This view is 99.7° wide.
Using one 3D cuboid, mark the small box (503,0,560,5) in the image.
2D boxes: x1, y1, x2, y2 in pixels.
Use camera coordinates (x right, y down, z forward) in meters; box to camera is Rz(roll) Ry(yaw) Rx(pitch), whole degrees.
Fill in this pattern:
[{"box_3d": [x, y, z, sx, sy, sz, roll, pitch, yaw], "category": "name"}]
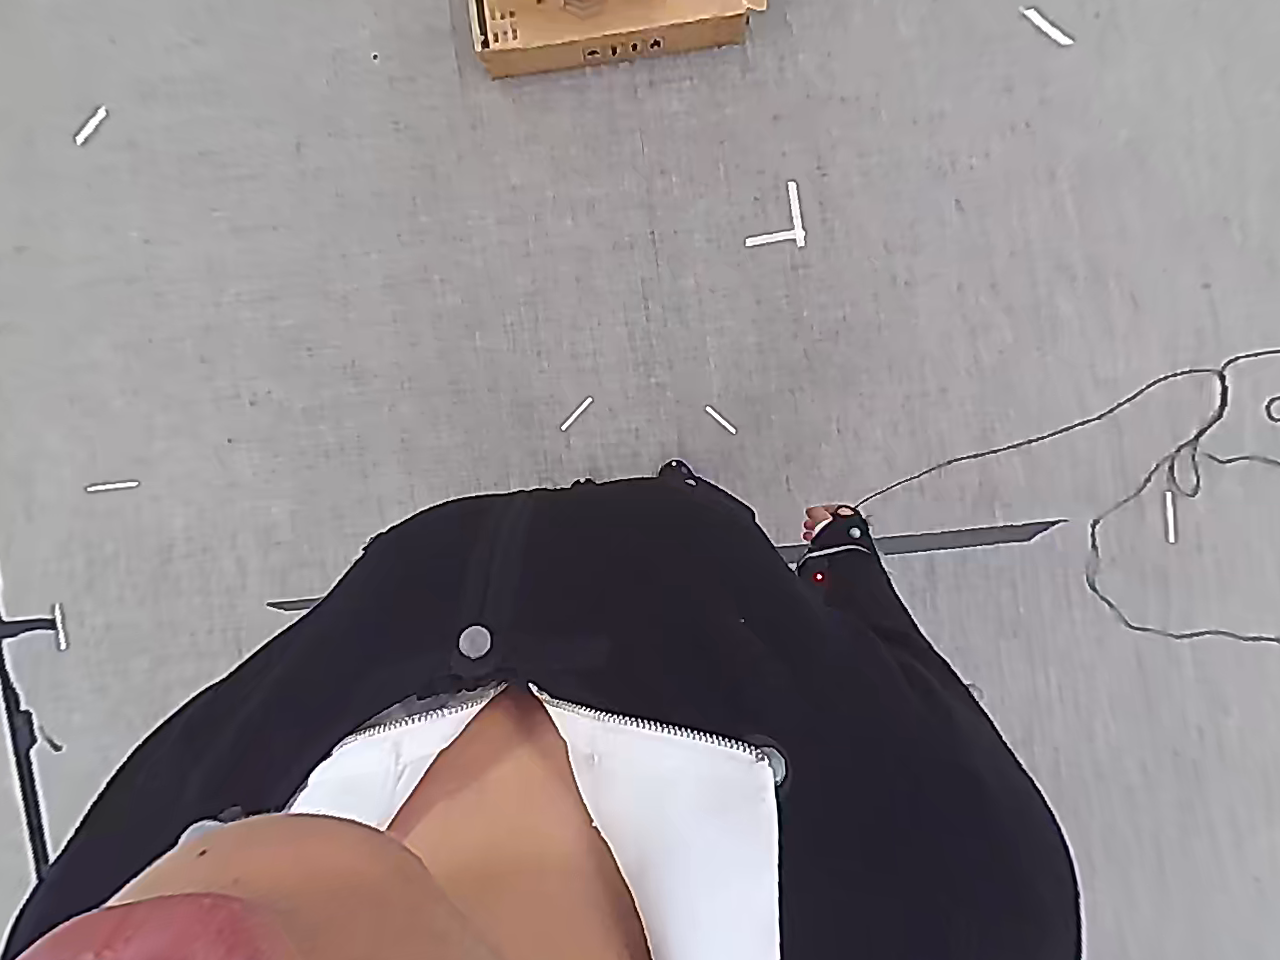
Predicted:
[{"box_3d": [-0.278, -1.266, 1.268, 0.168, 0.176, 0.179, -5, 93, 2], "category": "small box"}]
